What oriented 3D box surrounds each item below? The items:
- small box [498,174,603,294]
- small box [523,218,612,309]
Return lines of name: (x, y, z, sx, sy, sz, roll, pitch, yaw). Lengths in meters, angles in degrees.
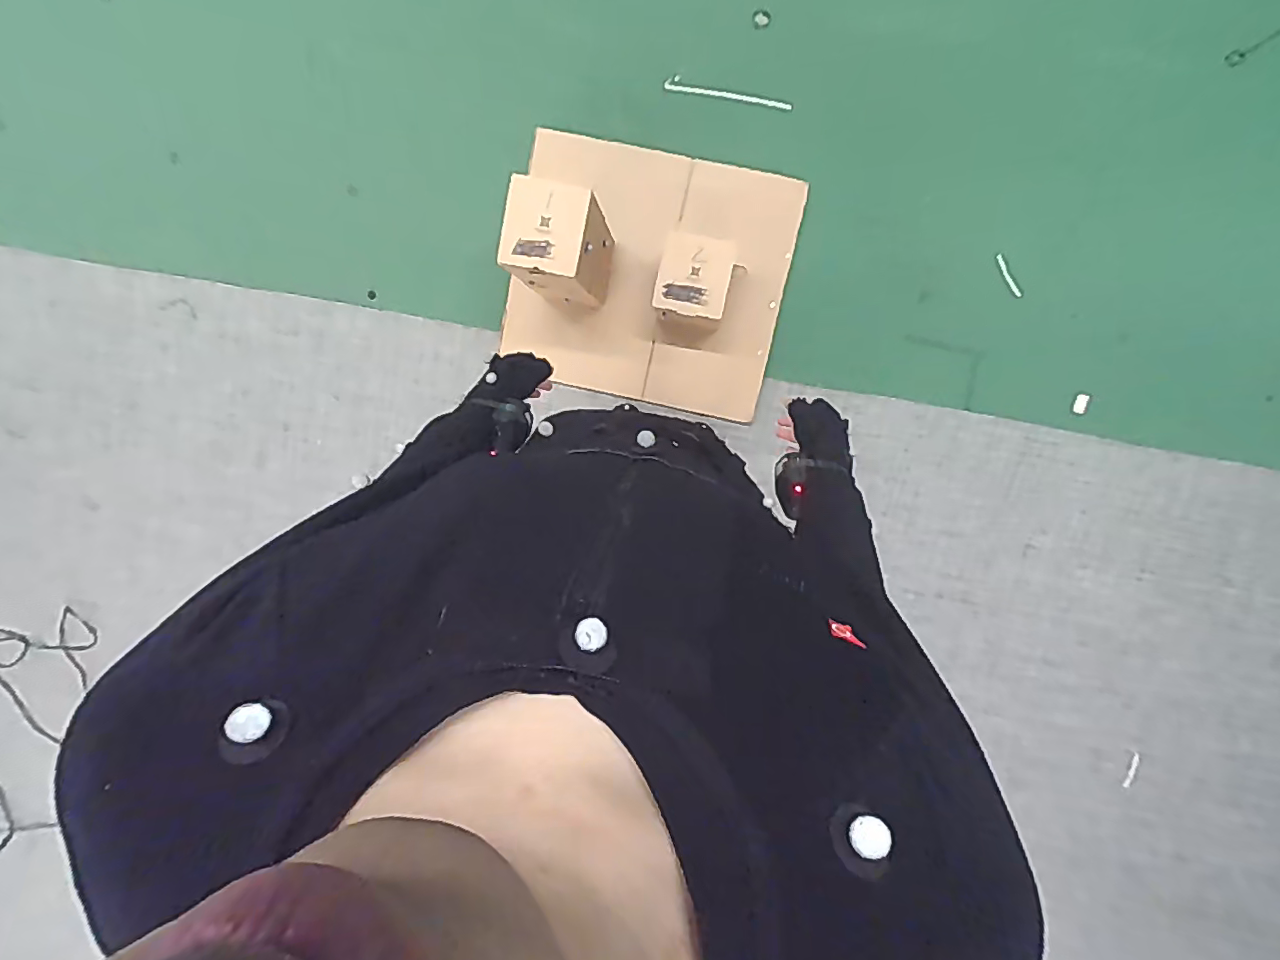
small box: (-0.182, -0.508, 1.146, 0.168, 0.176, 0.179, 13, 98, 3)
small box: (-0.168, -0.530, 1.307, 0.168, 0.176, 0.179, 12, 99, 4)
